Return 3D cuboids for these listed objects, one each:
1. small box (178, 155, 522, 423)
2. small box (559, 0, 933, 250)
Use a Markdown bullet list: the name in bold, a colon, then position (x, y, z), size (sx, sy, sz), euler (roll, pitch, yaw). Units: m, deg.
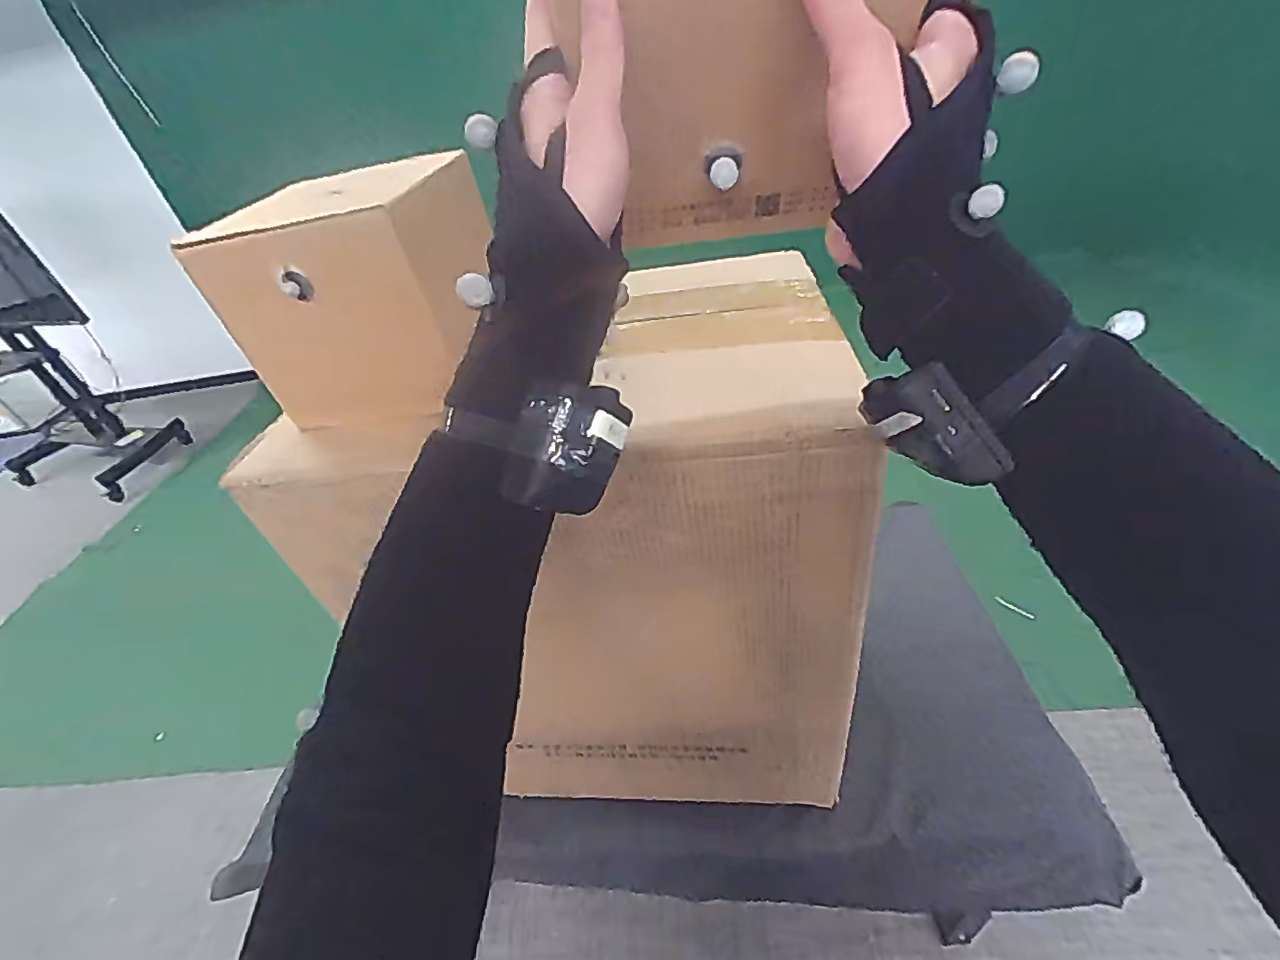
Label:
- **small box**: position (-0.225, -0.164, 0.479), size (0.179, 0.176, 0.168), euler (-3, 43, 8)
- **small box**: position (0.047, -0.262, 0.305), size (0.168, 0.176, 0.179), euler (-4, 64, 5)
